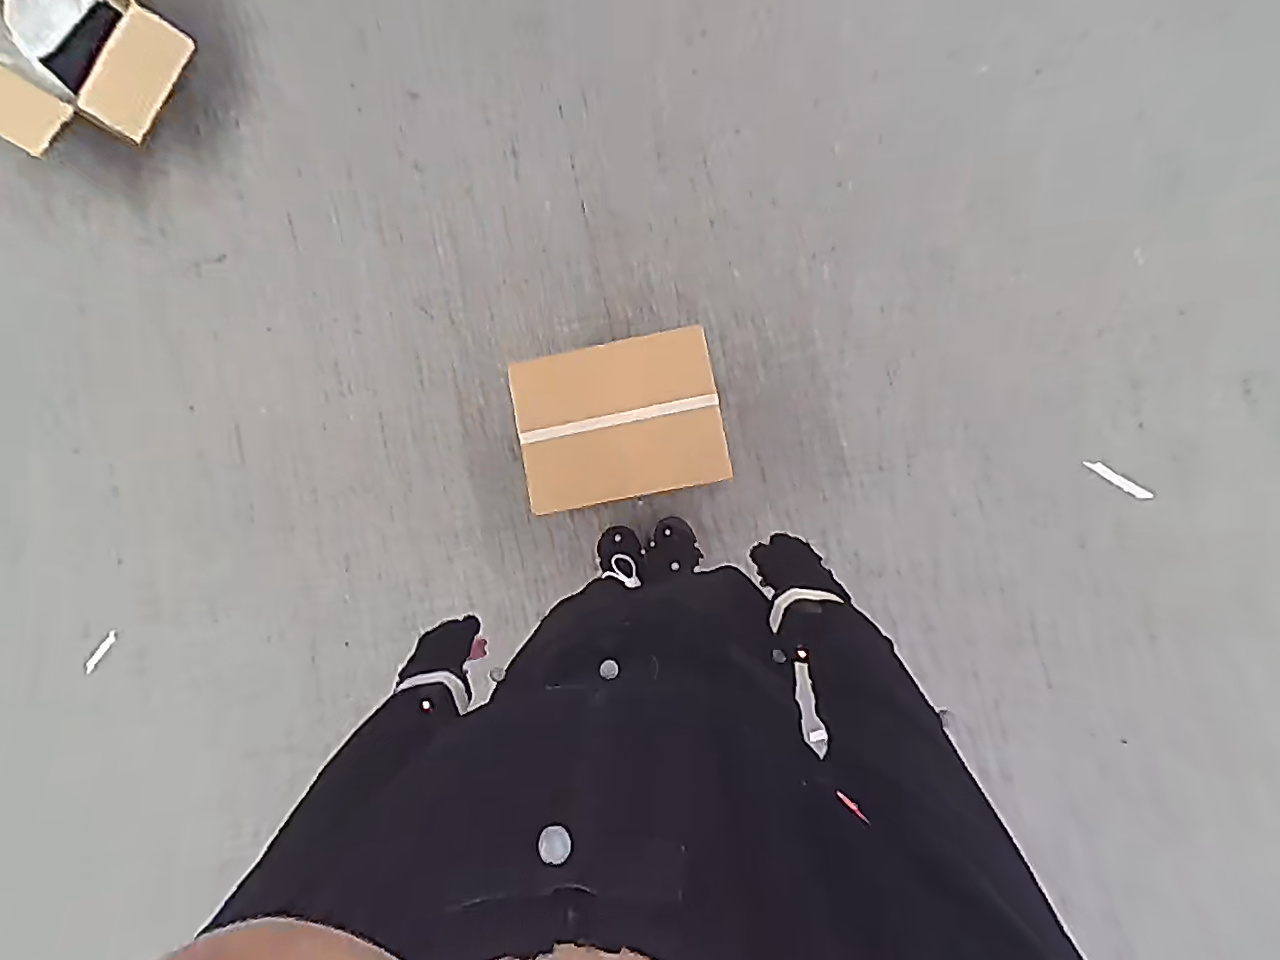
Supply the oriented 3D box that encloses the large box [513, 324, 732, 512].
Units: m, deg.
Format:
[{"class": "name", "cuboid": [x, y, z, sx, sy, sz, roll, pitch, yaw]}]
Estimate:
[{"class": "large box", "cuboid": [-0.029, -0.117, 1.230, 0.408, 0.320, 0.320, -11, 88, 4]}]
